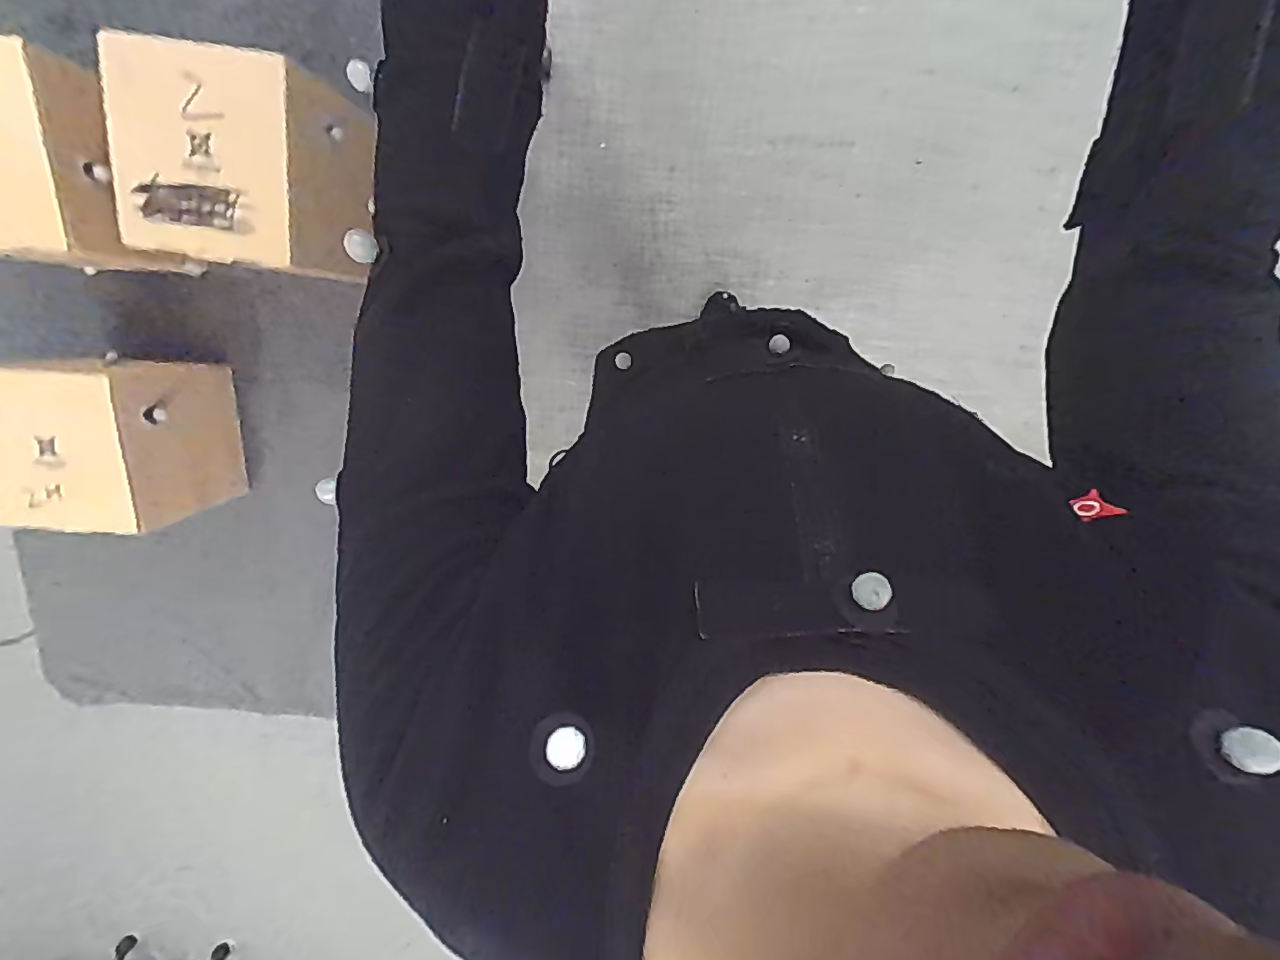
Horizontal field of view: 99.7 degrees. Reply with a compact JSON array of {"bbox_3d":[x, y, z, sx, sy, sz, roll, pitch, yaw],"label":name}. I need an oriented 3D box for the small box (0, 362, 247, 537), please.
[{"bbox_3d":[-0.618,-0.046,0.647,0.168,0.176,0.179,3,106,1],"label":"small box"}]

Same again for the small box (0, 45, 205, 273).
[{"bbox_3d":[-0.616,-0.322,0.572,0.168,0.176,0.179,2,107,1],"label":"small box"}]
